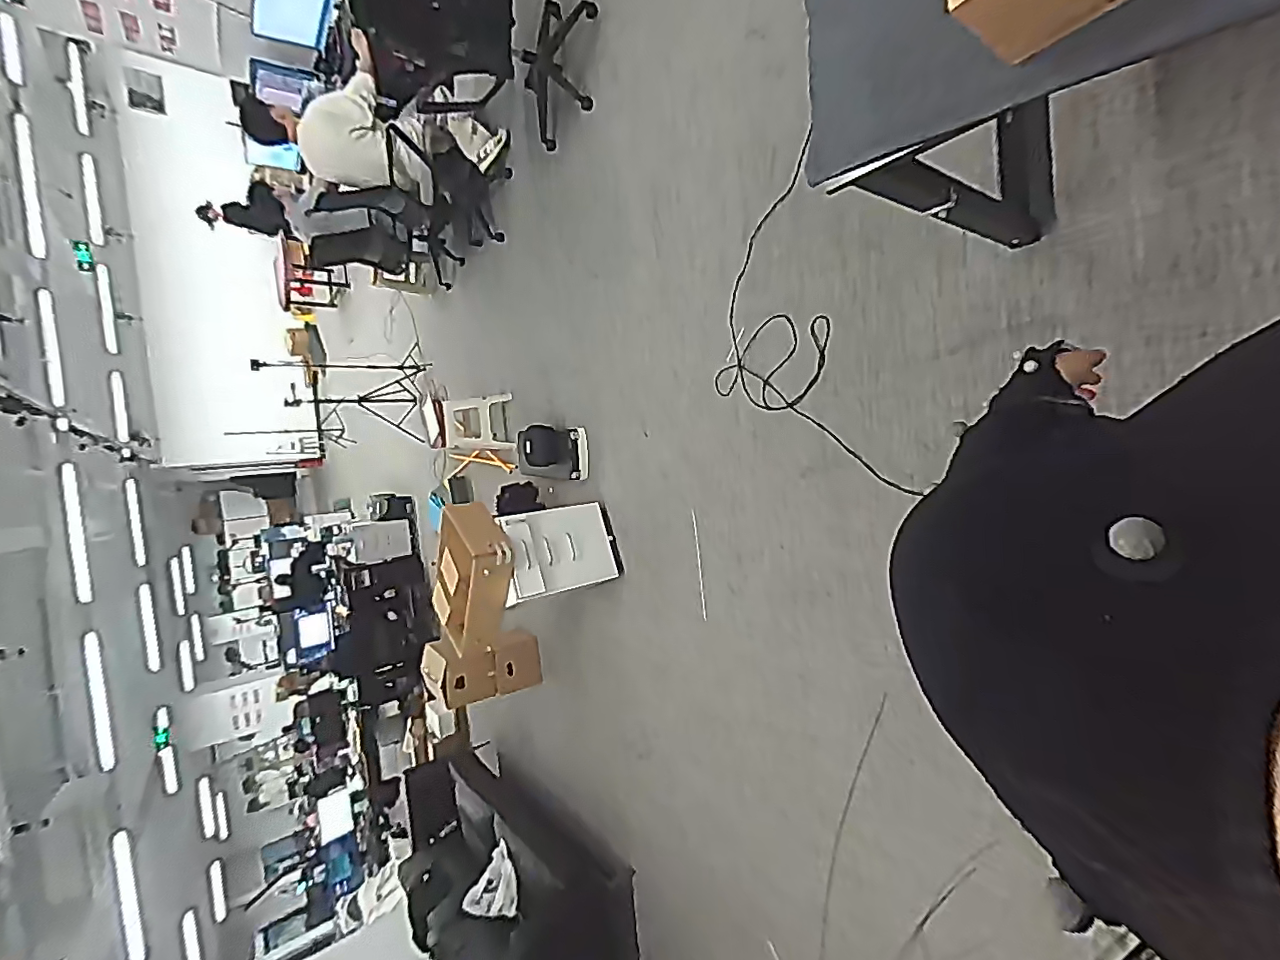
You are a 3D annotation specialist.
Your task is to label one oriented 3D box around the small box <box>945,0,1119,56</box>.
[{"bbox_3d":[0.421,-0.587,0.542,0.168,0.176,0.179,-3,93,54],"label":"small box"}]
